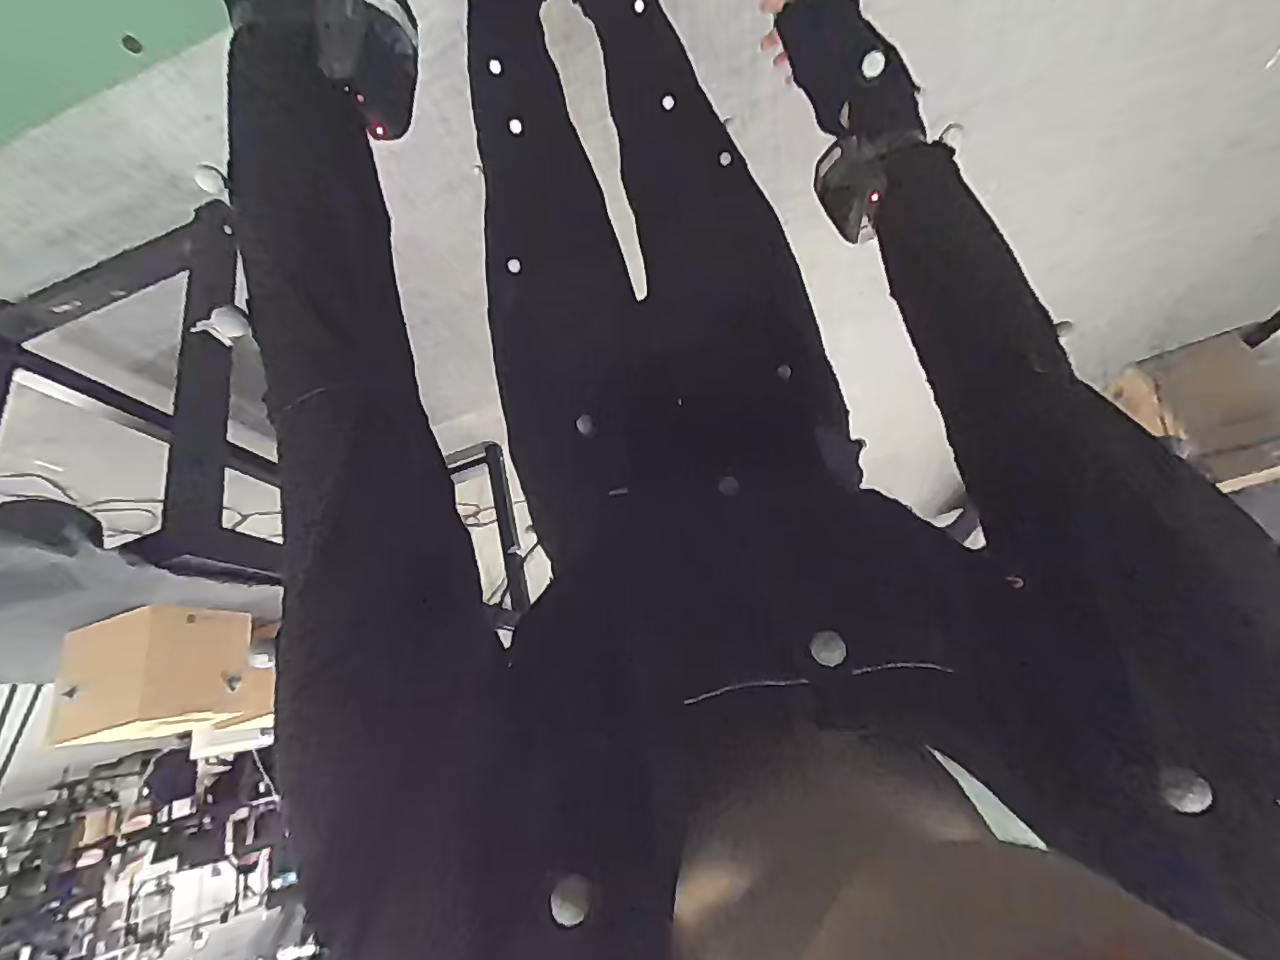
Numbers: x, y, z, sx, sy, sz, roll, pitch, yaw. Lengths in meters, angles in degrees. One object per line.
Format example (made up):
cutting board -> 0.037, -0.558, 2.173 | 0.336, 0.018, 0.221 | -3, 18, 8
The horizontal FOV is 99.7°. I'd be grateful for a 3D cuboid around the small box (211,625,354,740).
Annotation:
small box -> -0.698, 0.401, 1.074 | 0.179, 0.176, 0.168 | -19, 156, 7
